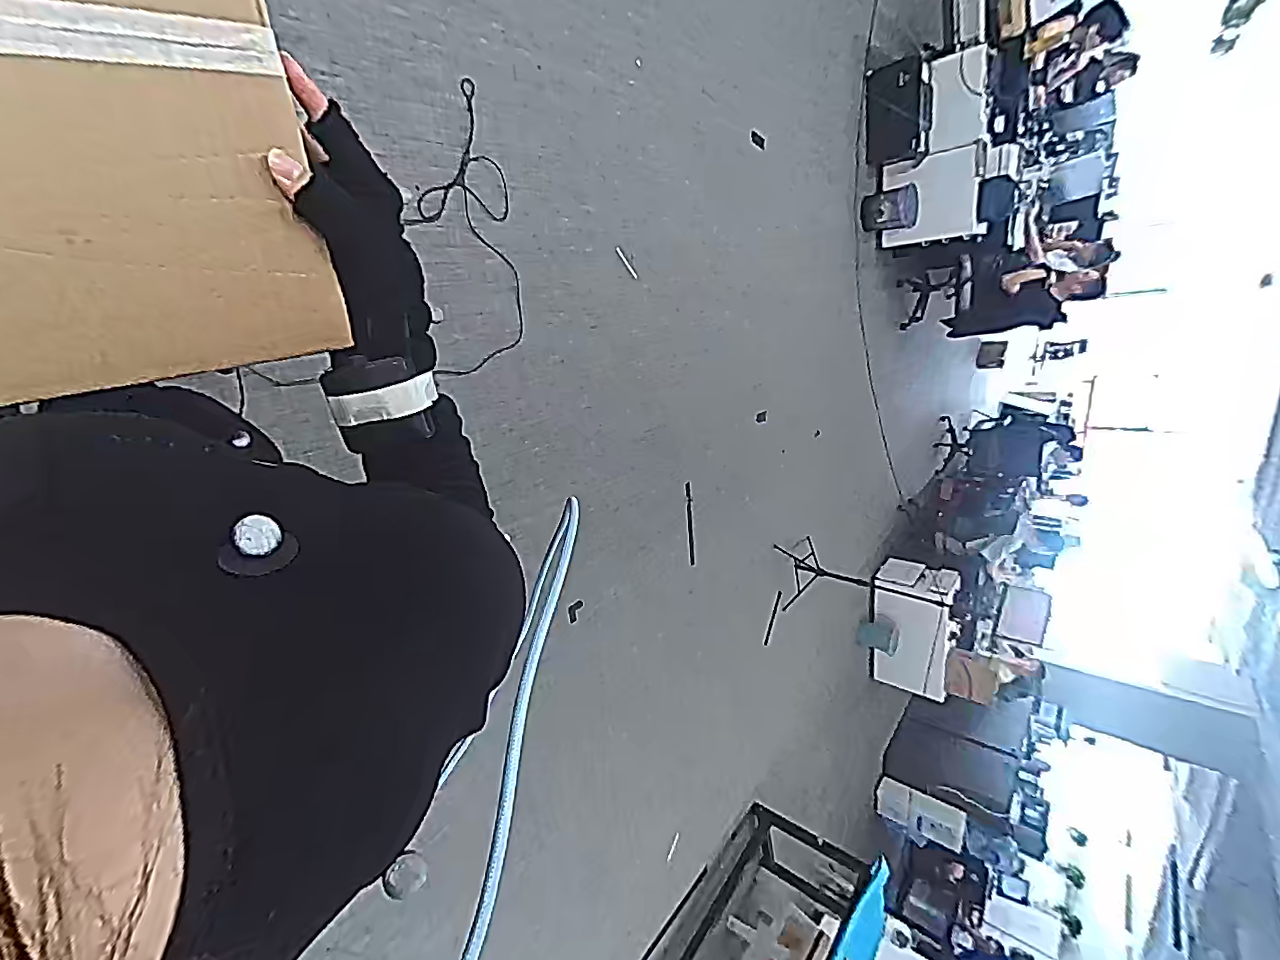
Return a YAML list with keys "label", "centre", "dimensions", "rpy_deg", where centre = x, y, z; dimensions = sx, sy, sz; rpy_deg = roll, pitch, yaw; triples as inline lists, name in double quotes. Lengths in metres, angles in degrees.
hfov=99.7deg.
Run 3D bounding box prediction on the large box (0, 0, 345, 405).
- label: "large box"
  centre: [-0.443, -0.217, 0.279]
  dimensions: [0.408, 0.320, 0.320]
  rpy_deg: [-23, 126, -34]
